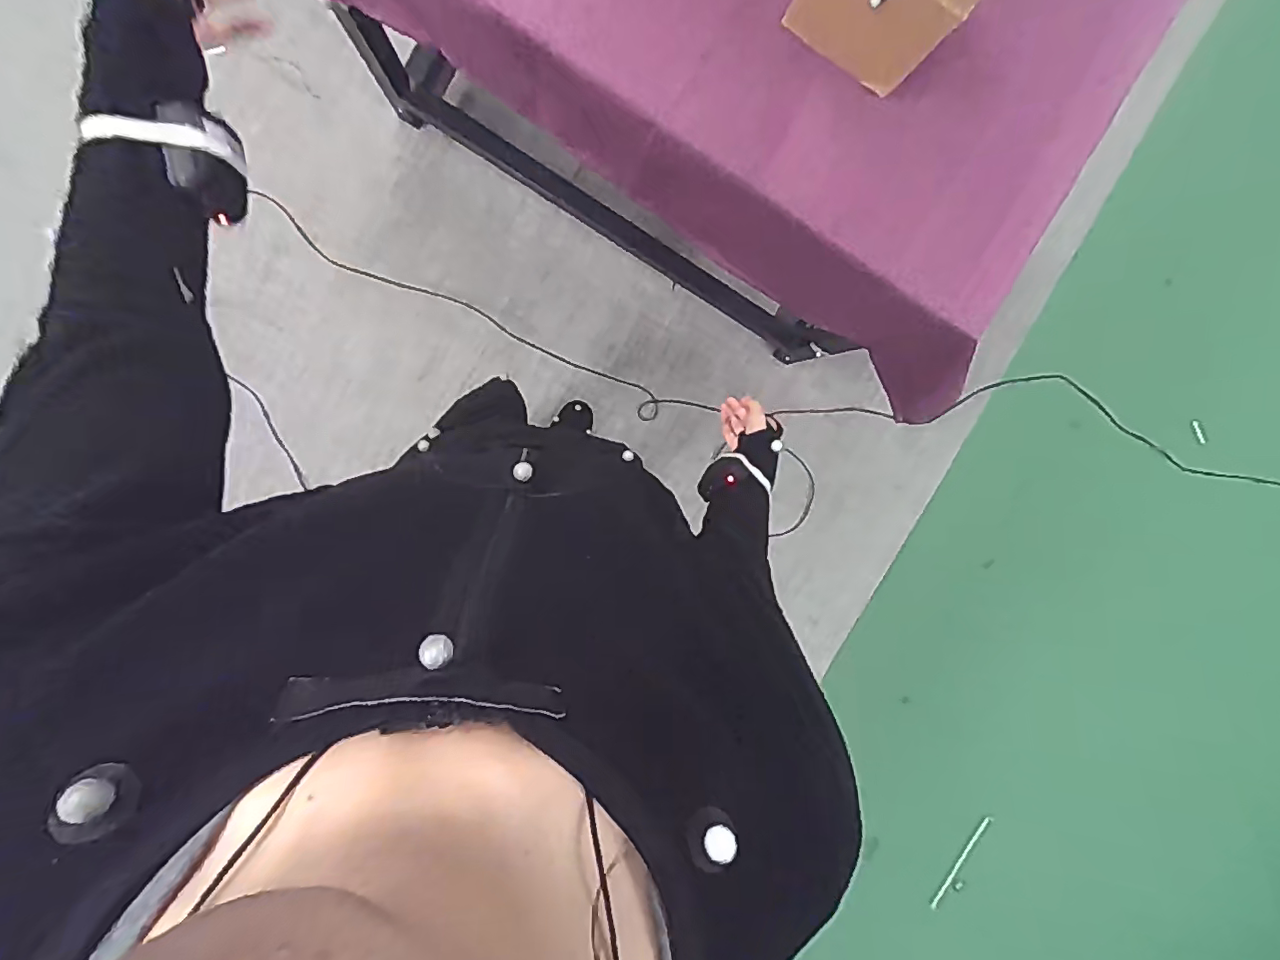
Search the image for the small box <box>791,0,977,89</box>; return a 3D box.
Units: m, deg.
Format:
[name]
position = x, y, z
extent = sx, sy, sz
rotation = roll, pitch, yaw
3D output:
[small box]
position = 0.313, -0.624, 0.645
extent = 0.179, 0.176, 0.168
rotation = 30, 94, -10
